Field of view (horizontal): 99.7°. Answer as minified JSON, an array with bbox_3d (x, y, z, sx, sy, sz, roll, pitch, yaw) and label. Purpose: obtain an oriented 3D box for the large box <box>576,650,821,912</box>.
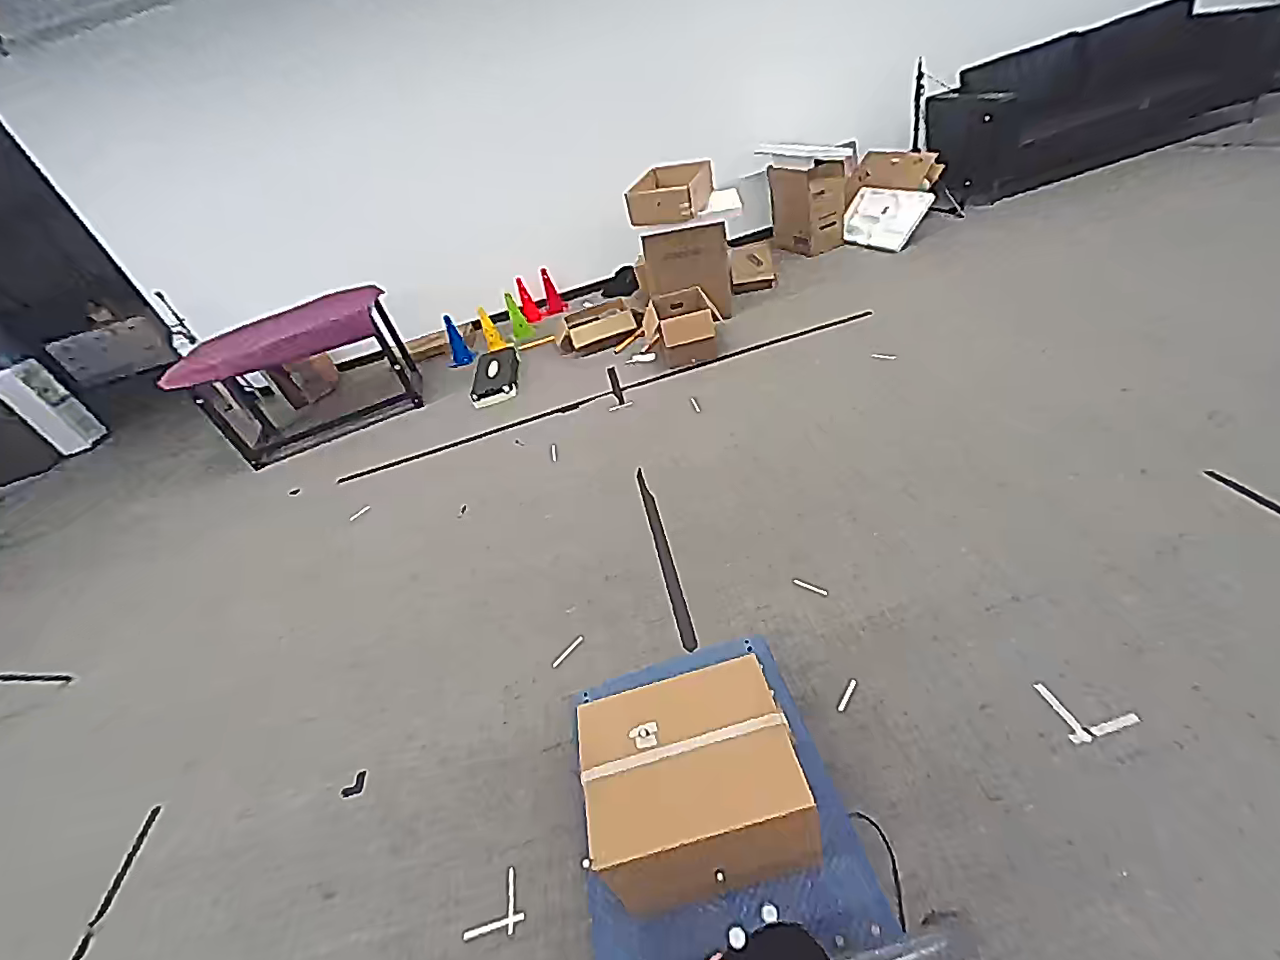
[{"bbox_3d":[0.117,0.622,1.125,0.408,0.320,0.320,-18,36,1],"label":"large box"}]
